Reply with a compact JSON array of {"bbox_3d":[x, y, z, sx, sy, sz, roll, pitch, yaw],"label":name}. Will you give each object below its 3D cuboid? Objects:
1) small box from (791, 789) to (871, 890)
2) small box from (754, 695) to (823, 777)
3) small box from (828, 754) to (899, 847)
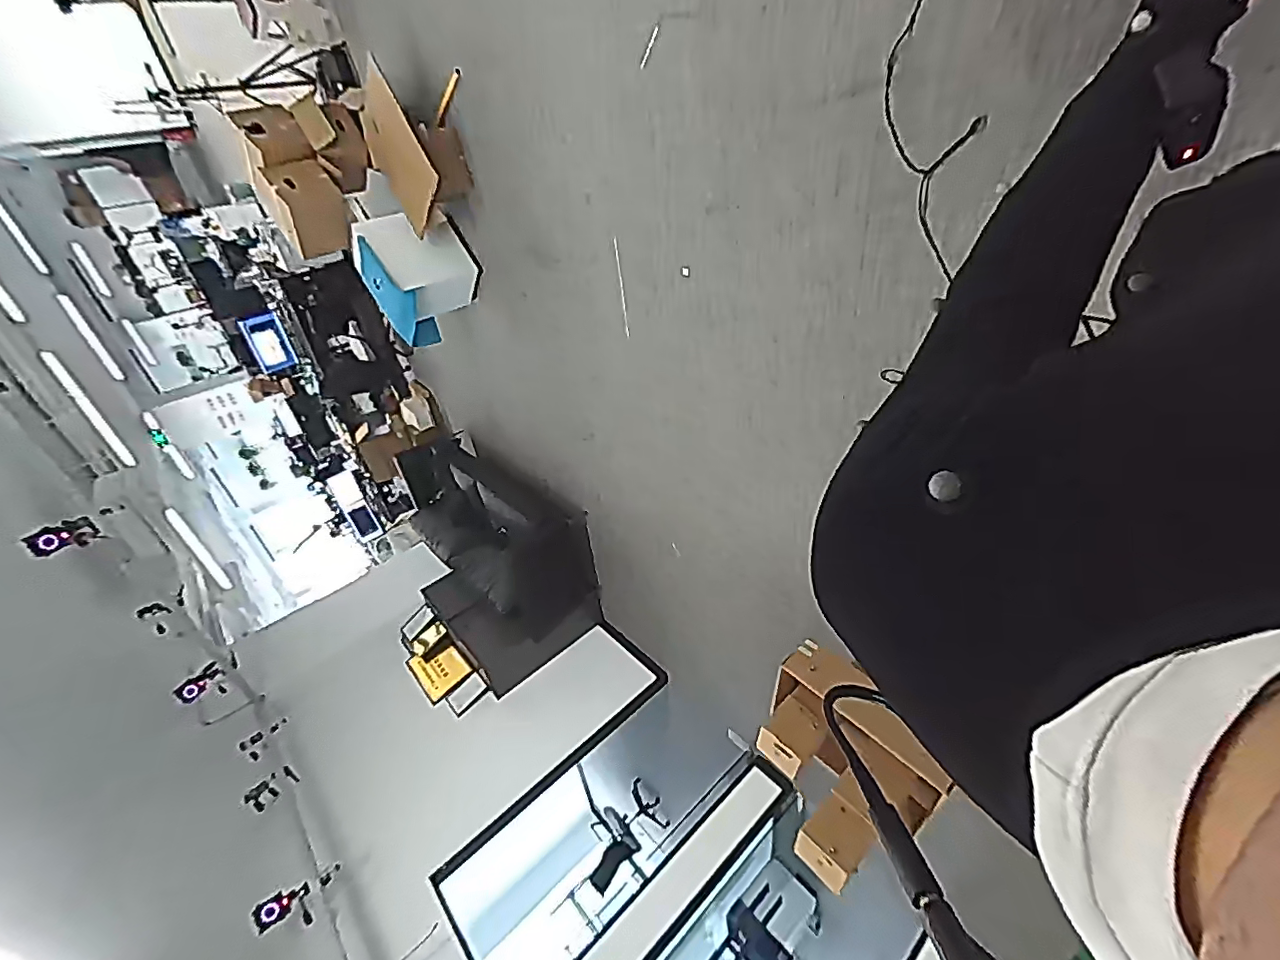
[{"bbox_3d":[0.601,1.127,1.702,0.168,0.176,0.179,32,140,38],"label":"small box"},{"bbox_3d":[0.535,0.913,1.941,0.168,0.176,0.179,35,143,34],"label":"small box"},{"bbox_3d":[0.723,1.048,1.778,0.168,0.176,0.179,33,140,38],"label":"small box"}]
